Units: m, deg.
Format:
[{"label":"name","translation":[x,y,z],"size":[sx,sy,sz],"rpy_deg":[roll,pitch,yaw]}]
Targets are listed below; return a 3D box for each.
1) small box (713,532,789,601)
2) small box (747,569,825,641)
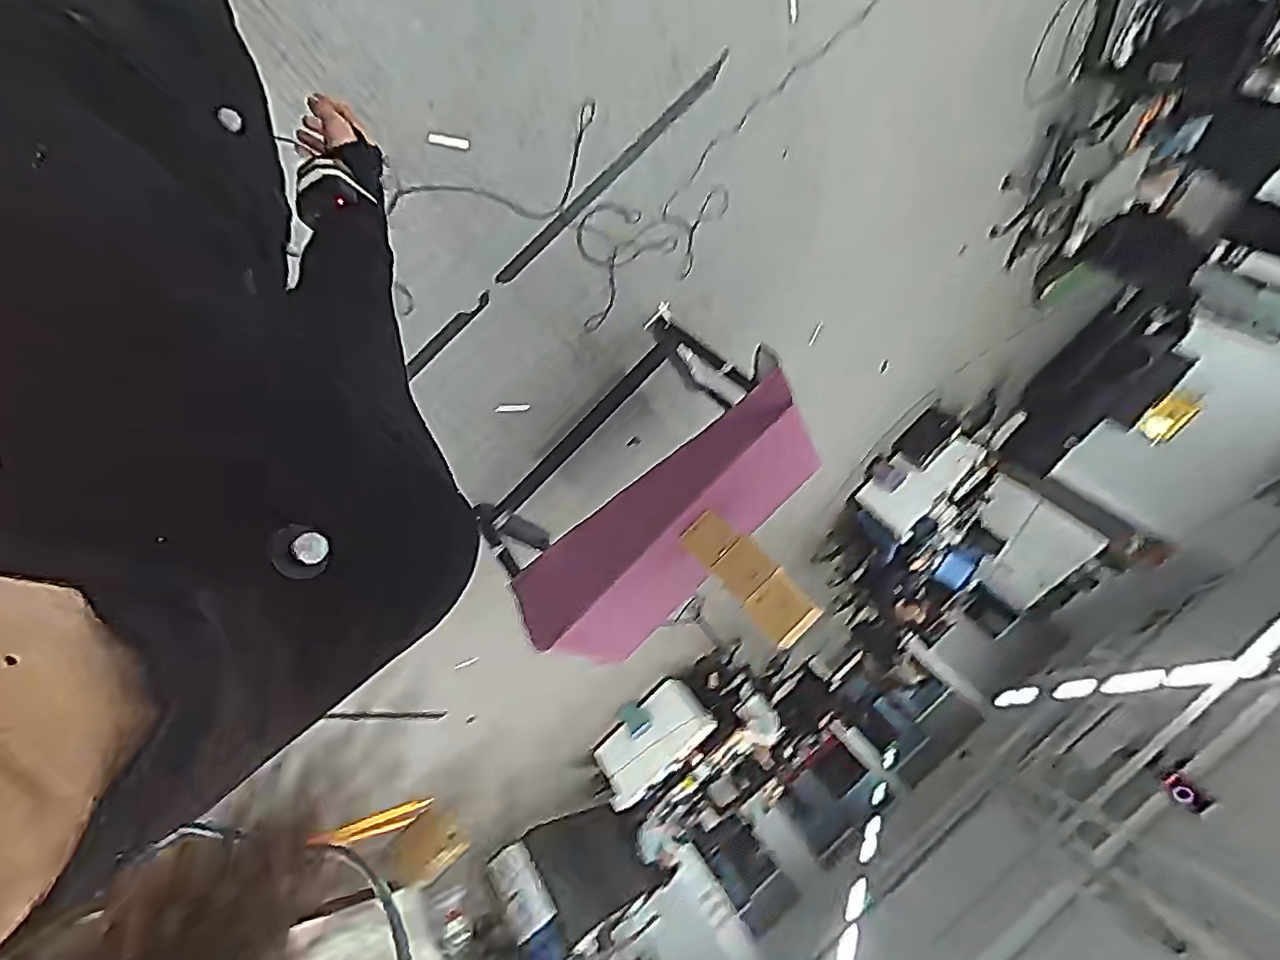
[{"label":"small box","translation":[0.384,0.307,1.870],"size":[0.179,0.176,0.168],"rpy_deg":[-44,147,0]},{"label":"small box","translation":[0.483,0.414,1.798],"size":[0.168,0.176,0.179],"rpy_deg":[-49,149,7]}]
